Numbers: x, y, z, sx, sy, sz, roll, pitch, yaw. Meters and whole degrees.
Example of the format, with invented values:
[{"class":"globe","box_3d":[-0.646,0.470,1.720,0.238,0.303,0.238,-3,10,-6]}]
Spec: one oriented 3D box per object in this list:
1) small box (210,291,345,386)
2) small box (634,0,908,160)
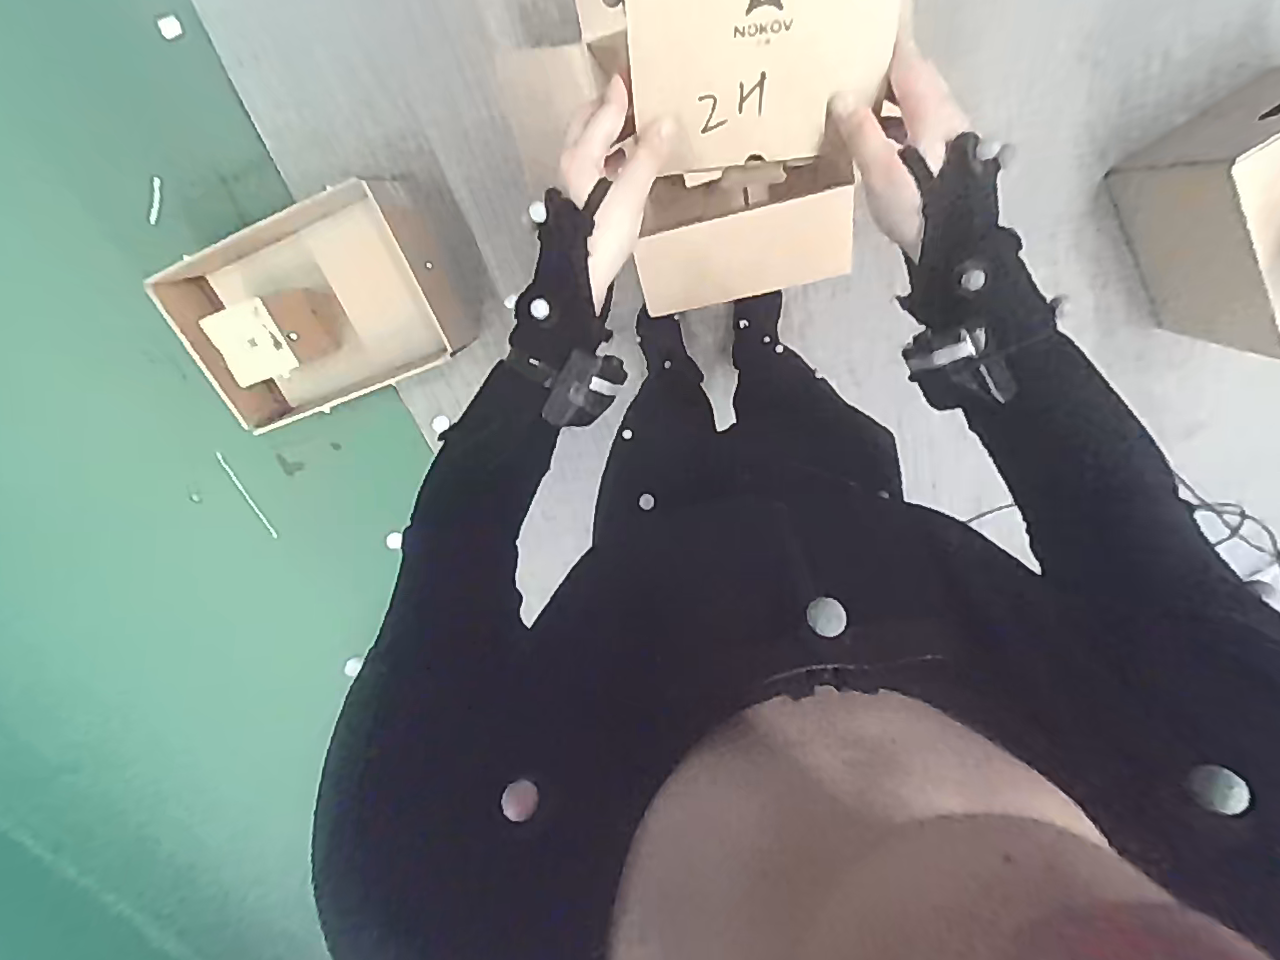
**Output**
[{"class":"small box","box_3d":[-0.869,-0.347,1.316,0.179,0.176,0.168,-16,112,13]},{"class":"small box","box_3d":[0.078,-0.349,0.372,0.168,0.176,0.179,-3,137,5]}]
